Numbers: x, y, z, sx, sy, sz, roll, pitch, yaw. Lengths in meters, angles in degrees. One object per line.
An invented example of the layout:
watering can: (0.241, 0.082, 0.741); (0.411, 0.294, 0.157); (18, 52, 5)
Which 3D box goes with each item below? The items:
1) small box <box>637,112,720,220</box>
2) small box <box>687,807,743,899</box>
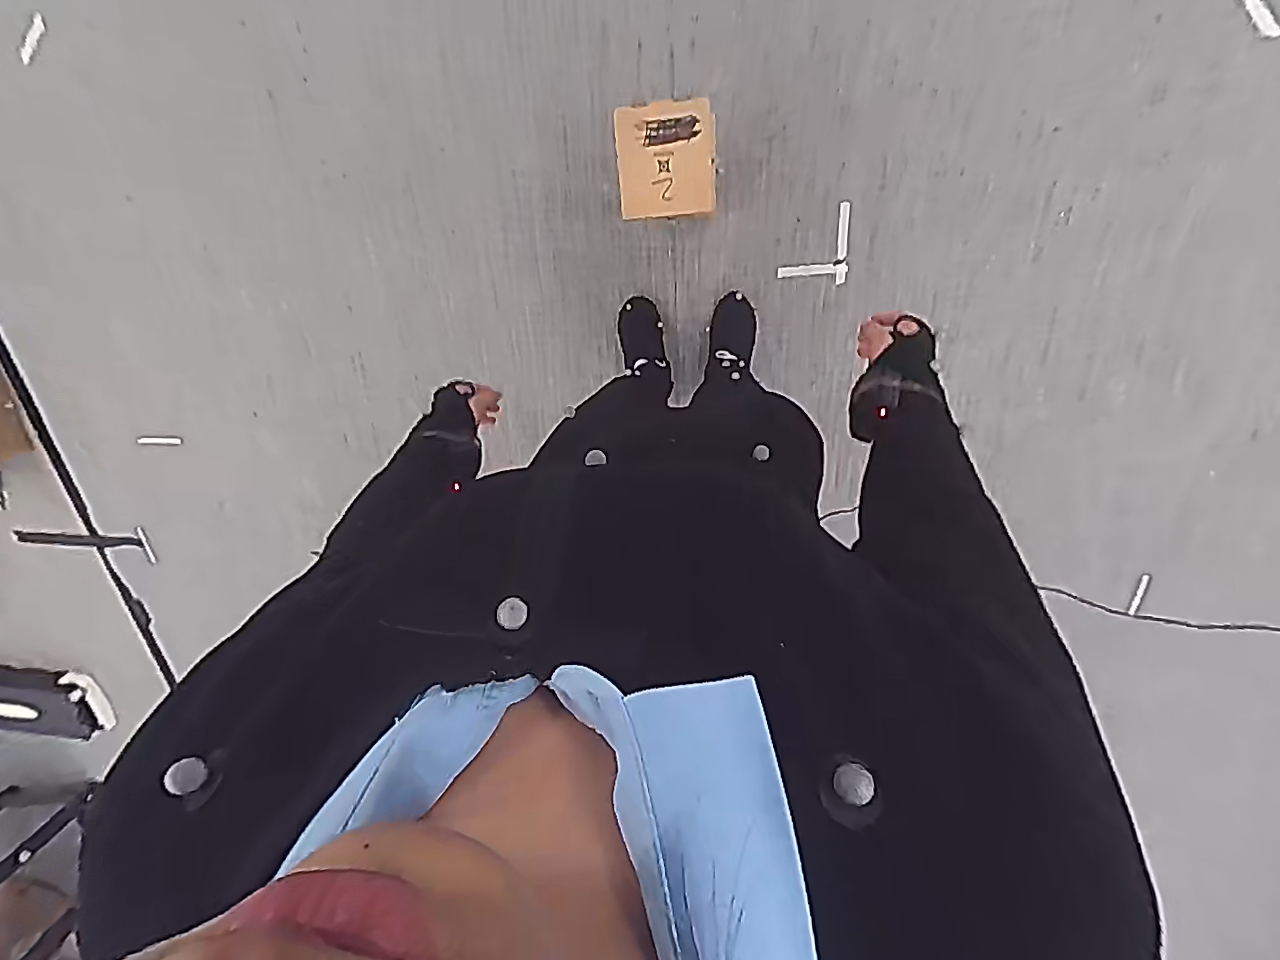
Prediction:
small box: (0.085, -0.660, 1.157); (0.168, 0.176, 0.179); (-1, 114, 8)
small box: (0.239, 1.198, 1.739); (0.168, 0.176, 0.179); (3, 113, 5)
